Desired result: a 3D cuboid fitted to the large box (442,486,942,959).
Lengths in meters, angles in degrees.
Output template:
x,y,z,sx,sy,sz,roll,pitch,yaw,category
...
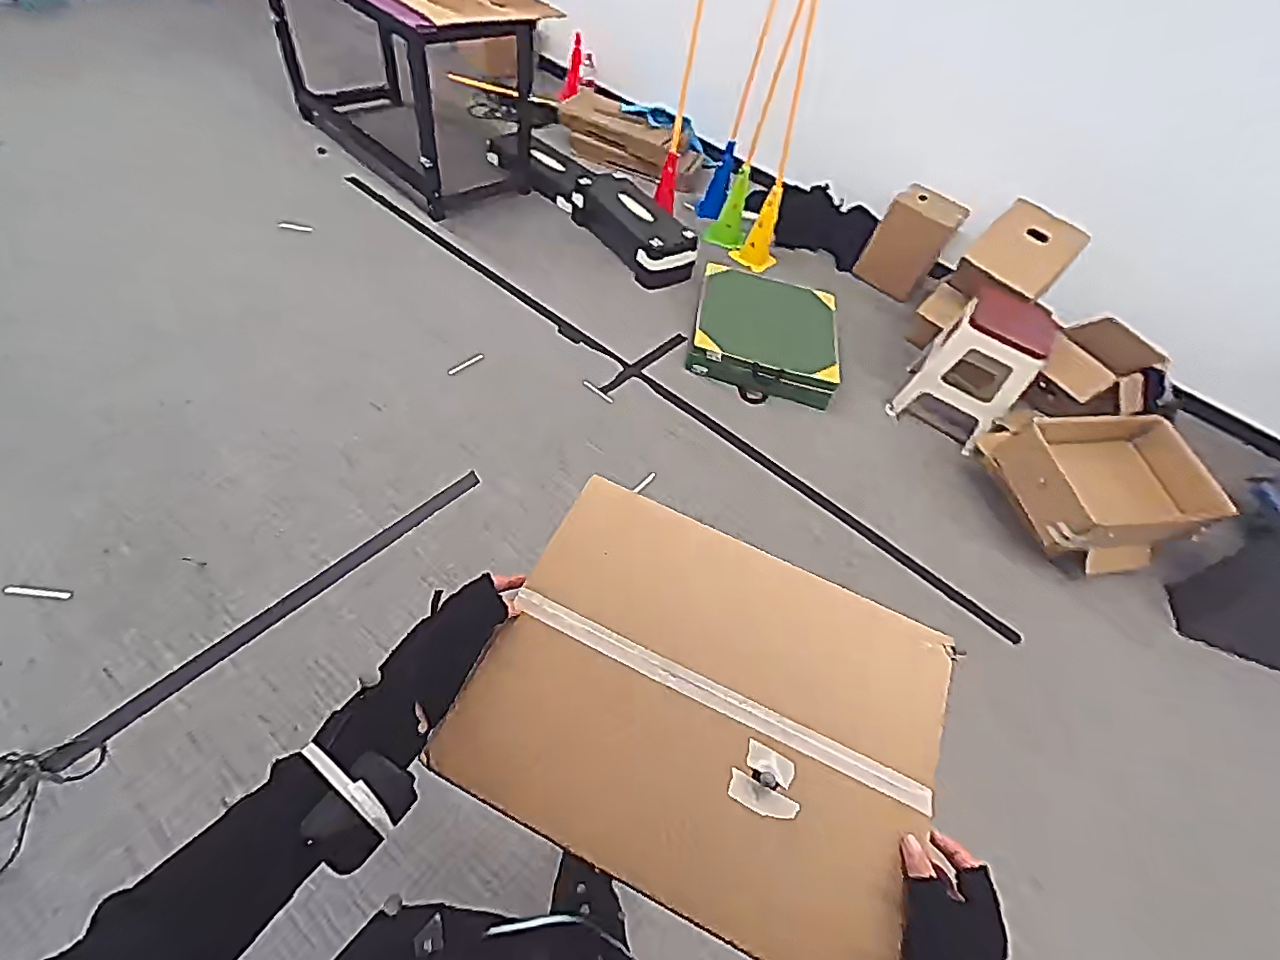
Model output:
x,y,z,sx,sy,sz,roll,pitch,yaw,category
0.053,0.273,0.631,0.408,0.320,0.320,25,61,8,large box
